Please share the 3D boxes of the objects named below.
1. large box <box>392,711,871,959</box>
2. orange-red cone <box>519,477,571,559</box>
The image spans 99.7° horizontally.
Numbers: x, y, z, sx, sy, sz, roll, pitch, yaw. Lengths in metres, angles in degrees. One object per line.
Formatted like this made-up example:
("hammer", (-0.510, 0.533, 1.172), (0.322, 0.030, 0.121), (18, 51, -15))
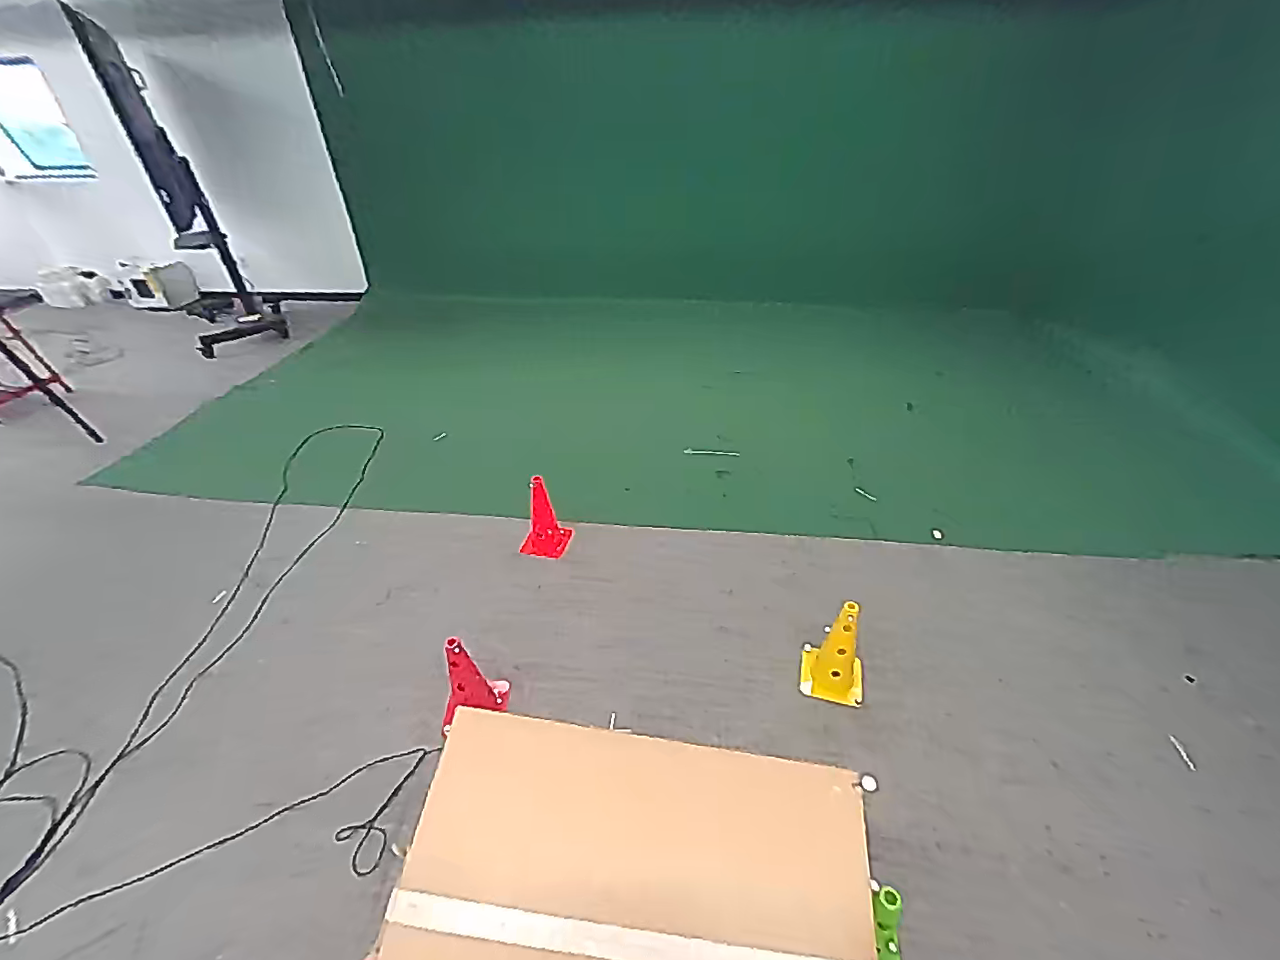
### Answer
("large box", (-0.013, 0.468, 0.577), (0.408, 0.320, 0.320), (9, 55, 1))
("orange-red cone", (-0.438, 0.144, 2.361), (0.199, 0.360, 0.198), (6, 36, 13))
